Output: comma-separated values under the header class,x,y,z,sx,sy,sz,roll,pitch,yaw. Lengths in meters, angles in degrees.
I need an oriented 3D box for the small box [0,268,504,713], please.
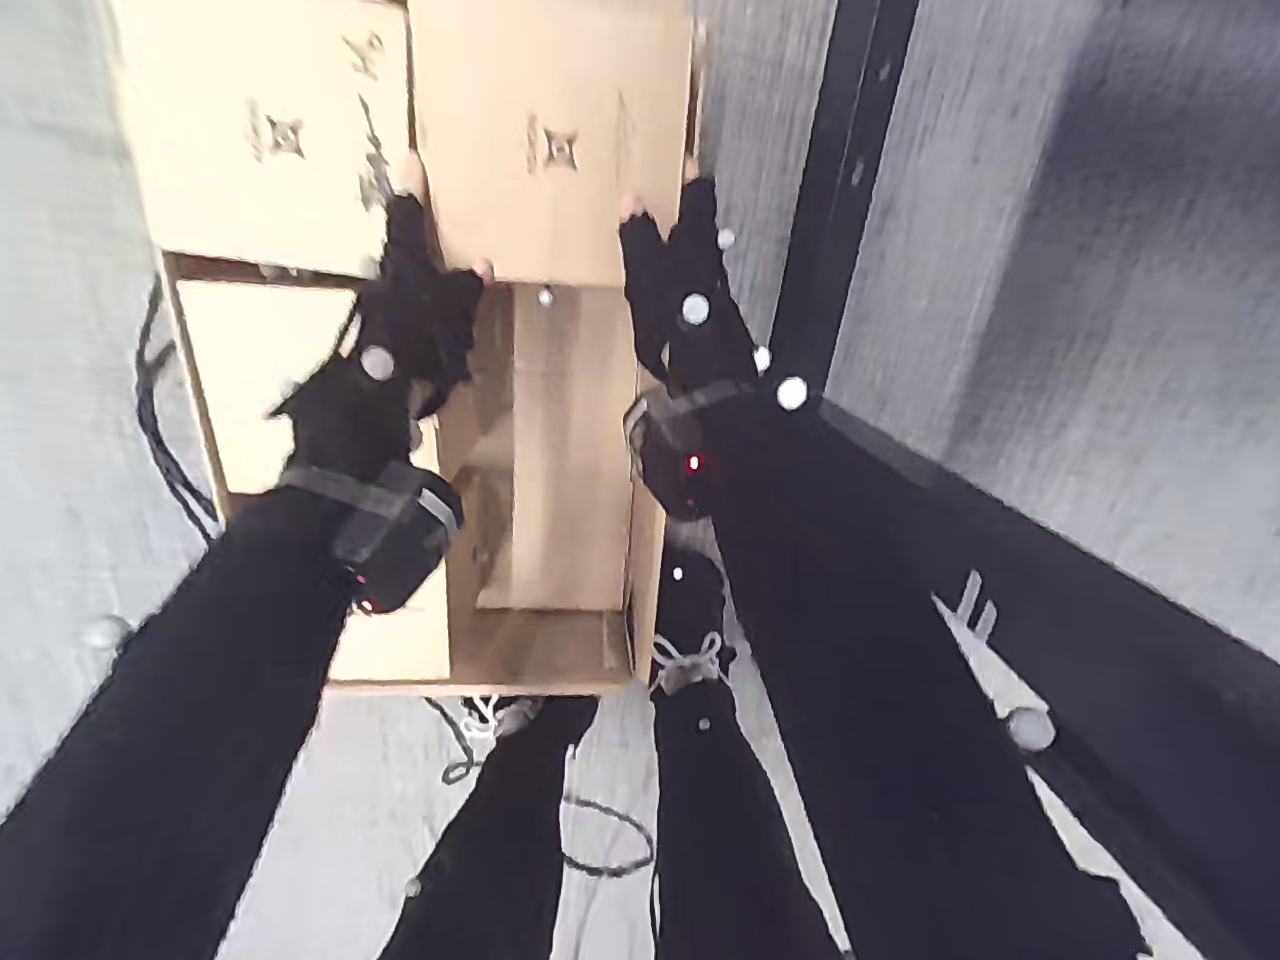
class,x,y,z,sx,sy,sz,roll,pitch,yaw
small box,-0.178,0.000,0.296,0.176,0.179,0.168,4,124,-22
